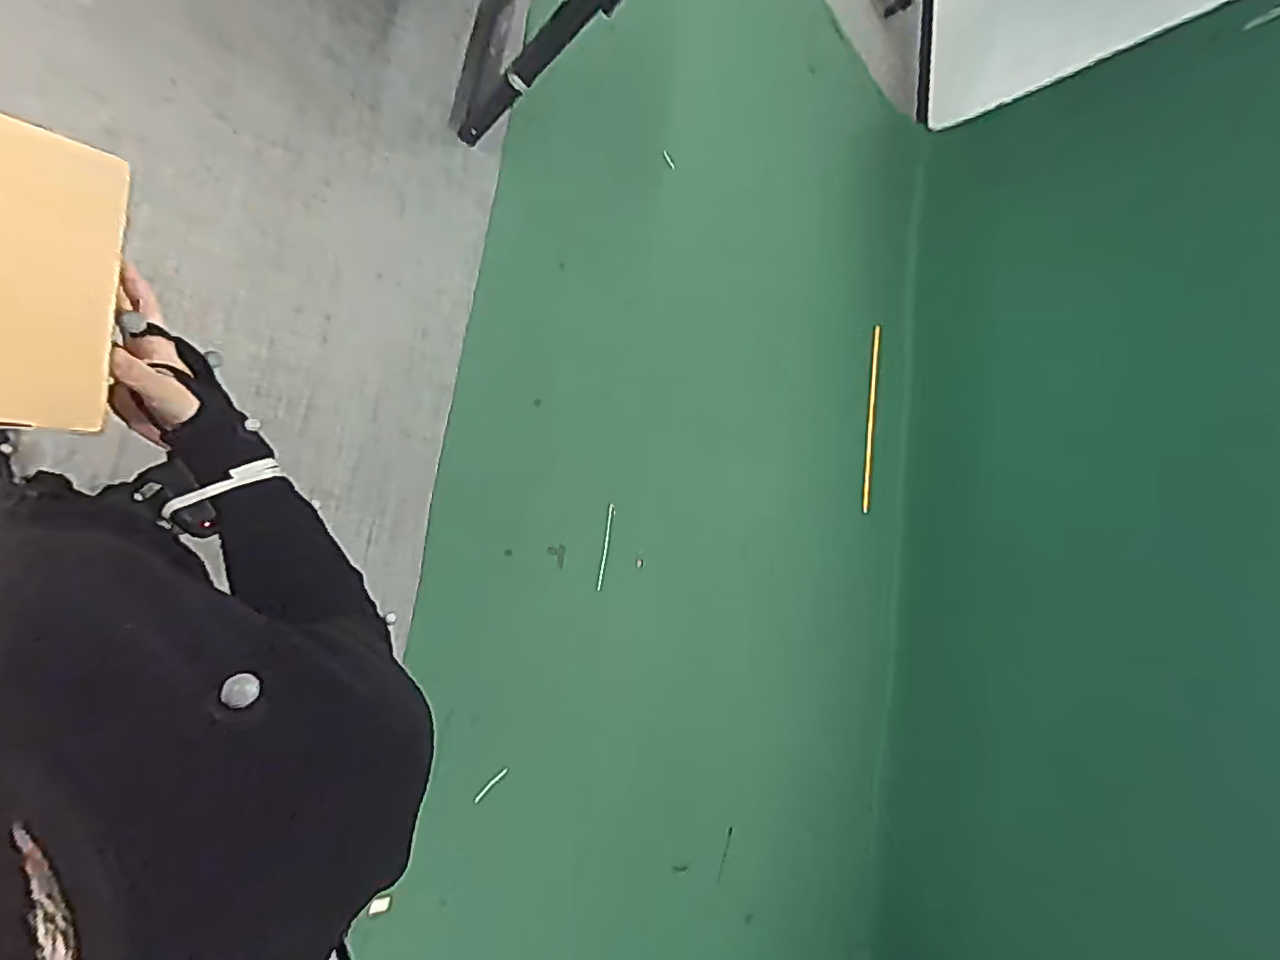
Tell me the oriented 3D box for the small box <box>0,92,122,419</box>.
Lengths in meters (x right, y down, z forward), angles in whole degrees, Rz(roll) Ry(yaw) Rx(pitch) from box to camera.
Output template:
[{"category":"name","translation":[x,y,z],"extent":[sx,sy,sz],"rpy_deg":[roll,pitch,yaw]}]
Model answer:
[{"category":"small box","translation":[-0.444,-0.139,0.324],"extent":[0.168,0.176,0.179],"rpy_deg":[5,94,-50]}]
